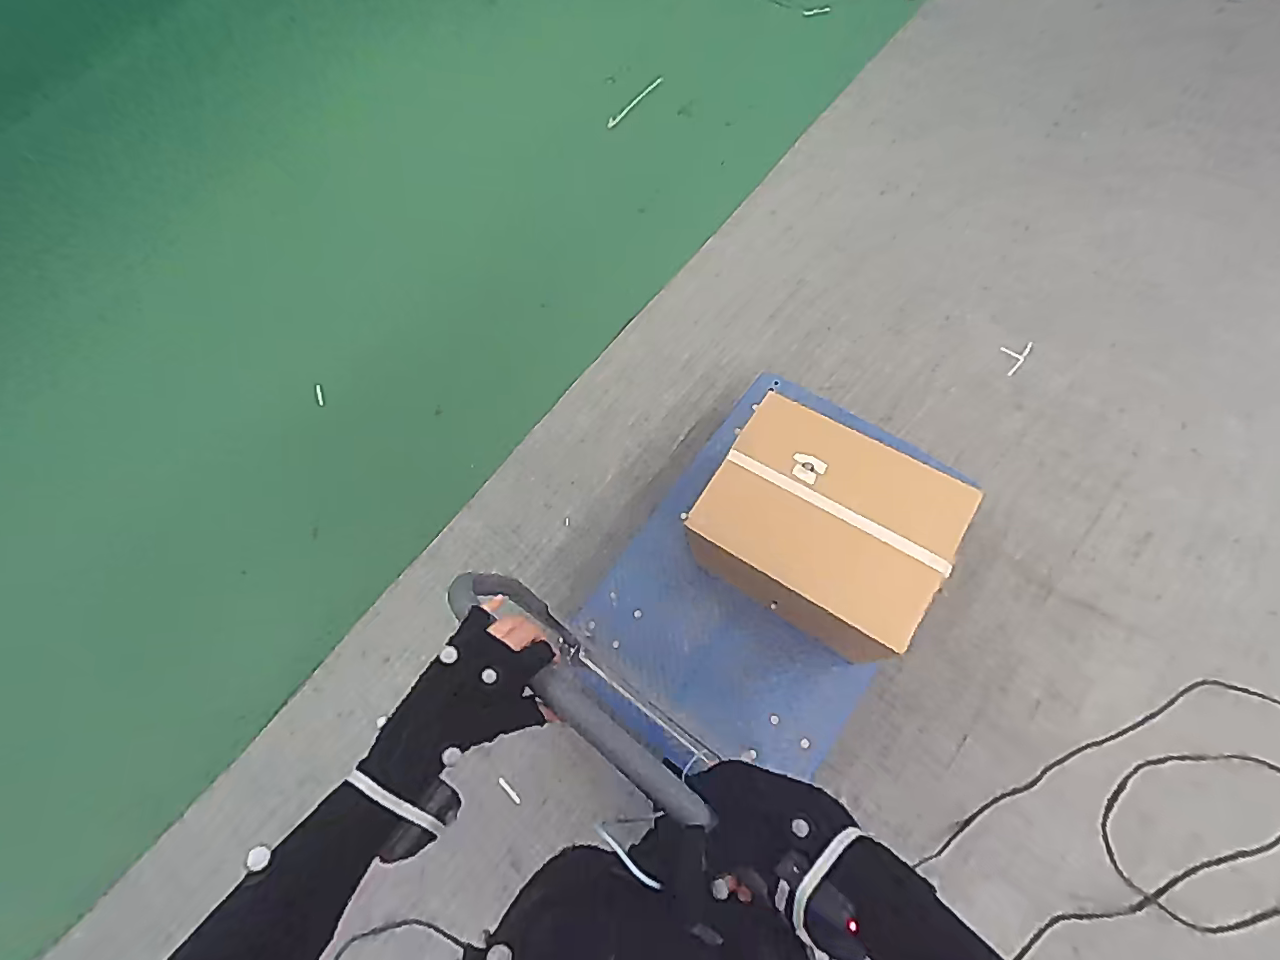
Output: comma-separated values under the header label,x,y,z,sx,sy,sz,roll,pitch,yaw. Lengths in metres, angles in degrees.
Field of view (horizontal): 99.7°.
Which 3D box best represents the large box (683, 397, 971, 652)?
label,x,y,z,sx,sy,sz,roll,pitch,yaw
large box,0.347,0.101,1.083,0.408,0.320,0.320,29,76,19
